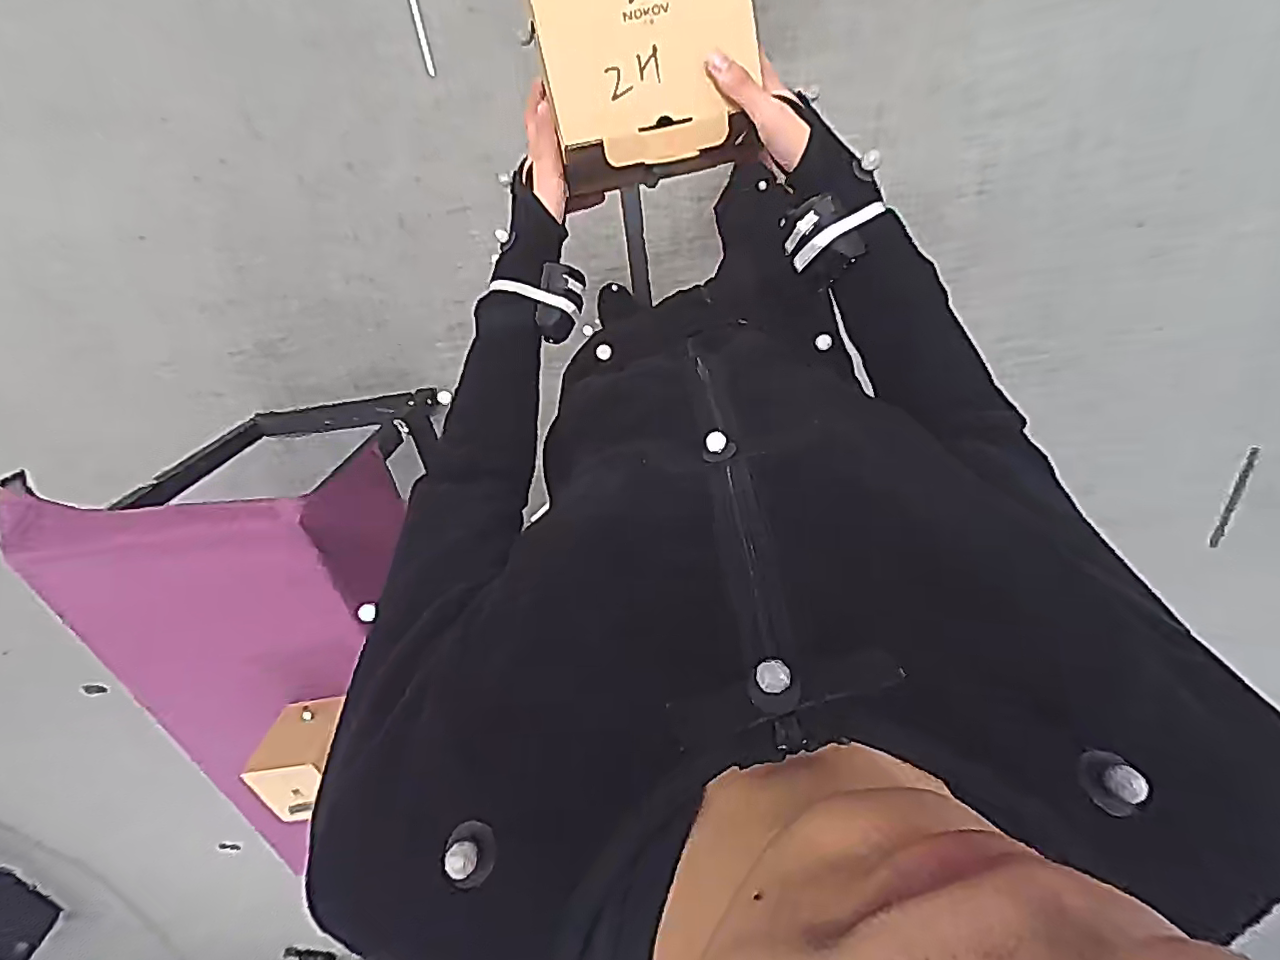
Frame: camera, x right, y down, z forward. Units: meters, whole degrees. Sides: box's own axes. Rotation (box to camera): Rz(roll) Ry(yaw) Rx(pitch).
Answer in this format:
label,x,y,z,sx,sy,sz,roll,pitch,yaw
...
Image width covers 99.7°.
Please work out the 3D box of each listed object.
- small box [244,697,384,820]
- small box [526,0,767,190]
label,x,y,z,sx,sy,sz,roll,pitch,yaw
small box,-0.698,0.608,1.186,0.168,0.176,0.179,-11,119,7
small box,-0.006,-0.382,0.471,0.168,0.176,0.179,-14,106,-2
